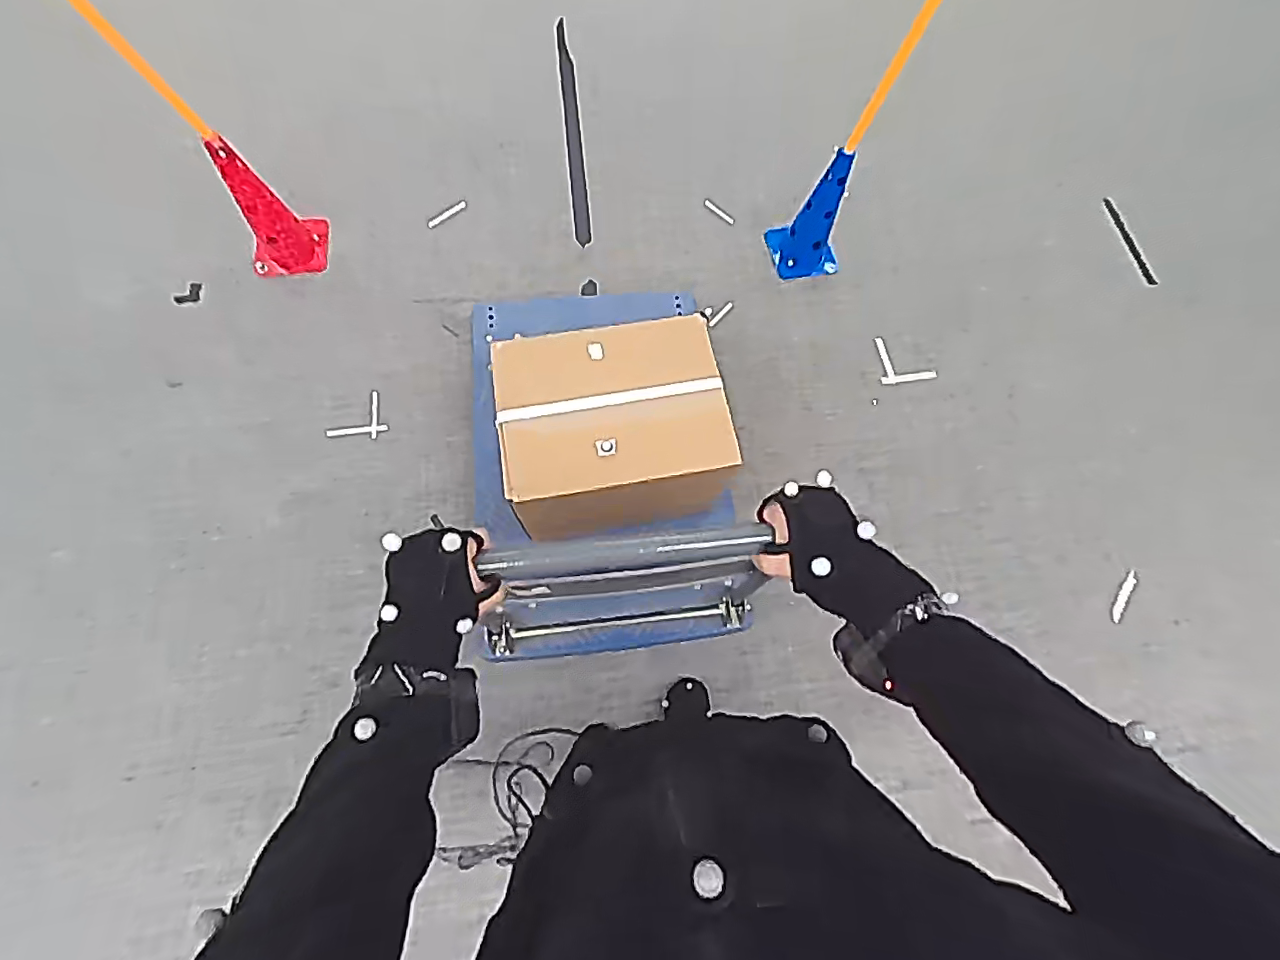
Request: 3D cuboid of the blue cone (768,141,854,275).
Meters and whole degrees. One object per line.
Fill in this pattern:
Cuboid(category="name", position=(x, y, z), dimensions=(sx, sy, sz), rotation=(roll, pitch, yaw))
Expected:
Cuboid(category="blue cone", position=(0.527, -0.787, 1.562), dimensions=(0.193, 0.380, 0.192), rotation=(-9, 71, -7))
